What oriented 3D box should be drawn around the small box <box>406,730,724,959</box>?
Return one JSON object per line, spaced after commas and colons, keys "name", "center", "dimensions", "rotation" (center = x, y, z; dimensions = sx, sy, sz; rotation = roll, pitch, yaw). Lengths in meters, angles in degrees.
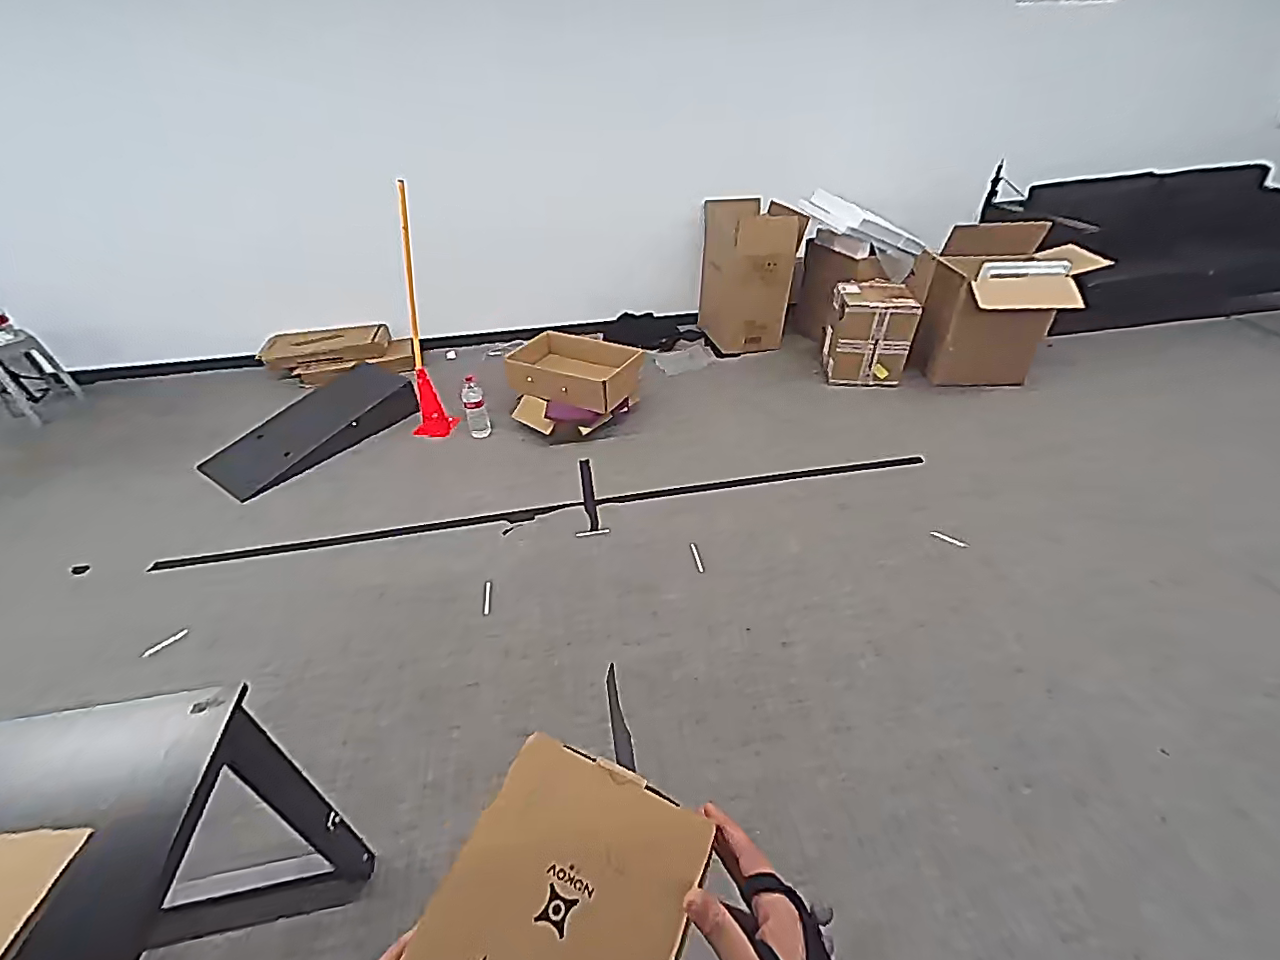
{"name": "small box", "center": [-0.044, 0.346, 0.433], "dimensions": [0.168, 0.176, 0.179], "rotation": [17, 47, 20]}
